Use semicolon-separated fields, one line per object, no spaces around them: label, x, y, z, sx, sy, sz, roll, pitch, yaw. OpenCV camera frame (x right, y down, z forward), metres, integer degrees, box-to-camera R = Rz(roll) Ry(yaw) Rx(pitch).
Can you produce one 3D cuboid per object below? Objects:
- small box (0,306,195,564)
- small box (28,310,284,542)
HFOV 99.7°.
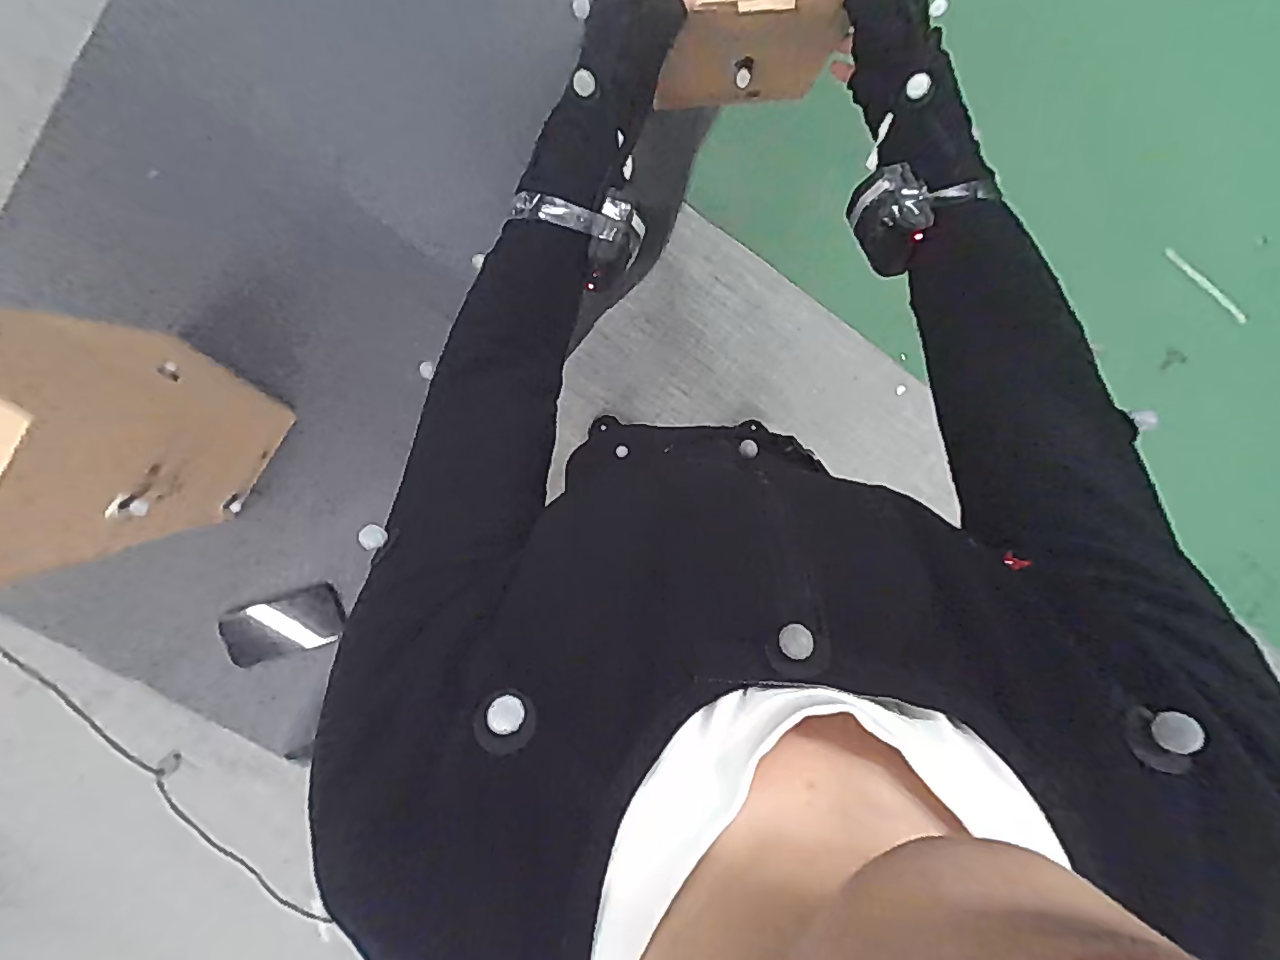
small box;-0.540;-0.039;0.445;0.179;0.176;0.168;33;94;-7
small box;-0.554;-0.060;0.605;0.179;0.176;0.168;34;94;-6
